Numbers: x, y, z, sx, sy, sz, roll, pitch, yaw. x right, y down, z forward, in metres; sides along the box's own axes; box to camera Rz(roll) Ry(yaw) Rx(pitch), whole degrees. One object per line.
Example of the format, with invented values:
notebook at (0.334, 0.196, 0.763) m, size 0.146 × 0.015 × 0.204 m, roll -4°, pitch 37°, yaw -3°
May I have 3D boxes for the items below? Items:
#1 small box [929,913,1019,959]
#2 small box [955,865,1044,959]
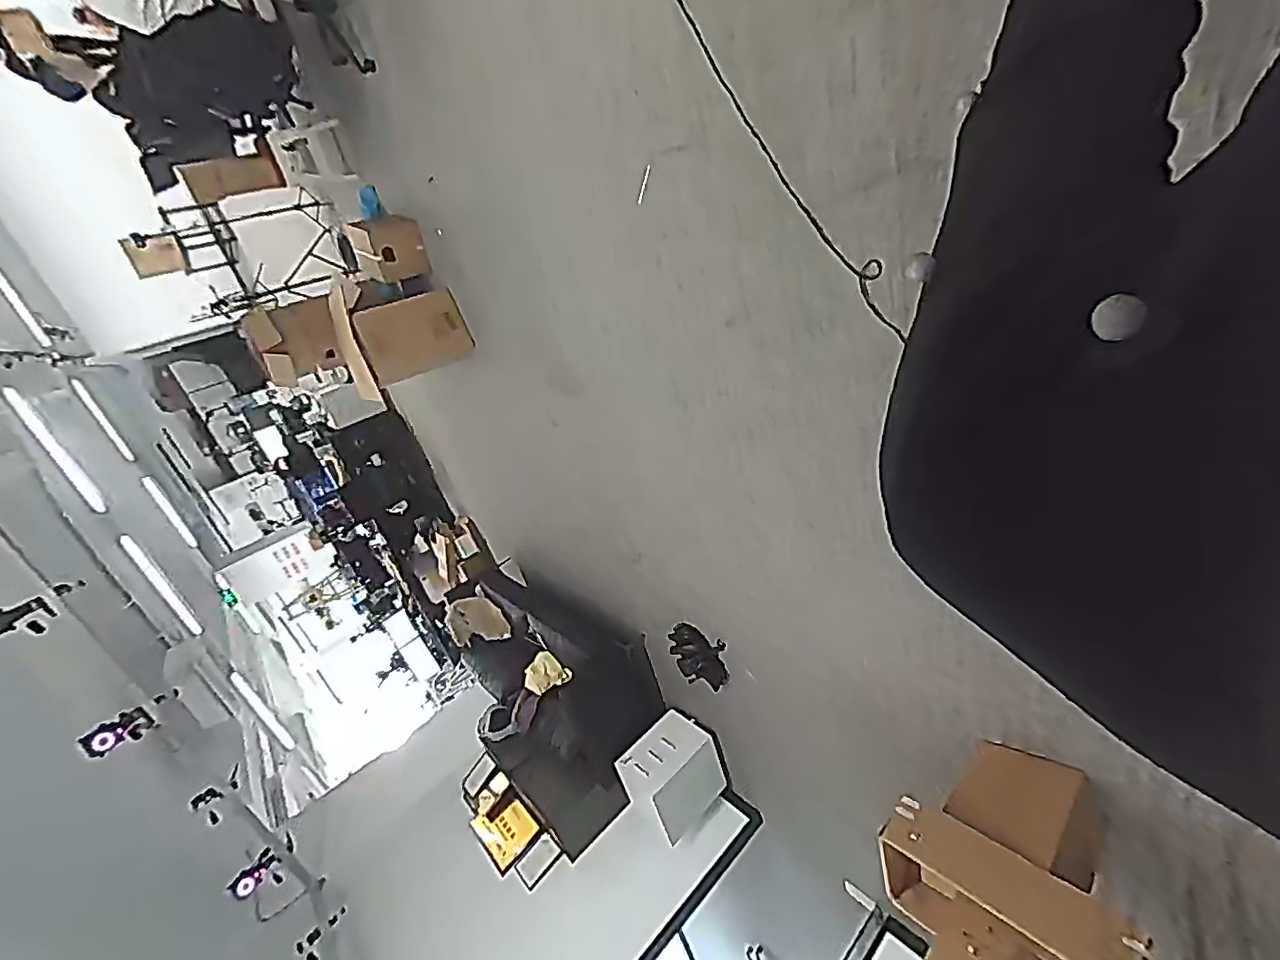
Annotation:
small box at (0.930, 1.366, 1.492) m, size 0.168 × 0.176 × 0.179 m, roll 7°, pitch 123°, yaw 53°
small box at (1.049, 1.286, 1.572) m, size 0.168 × 0.176 × 0.179 m, roll 5°, pitch 123°, yaw 52°
